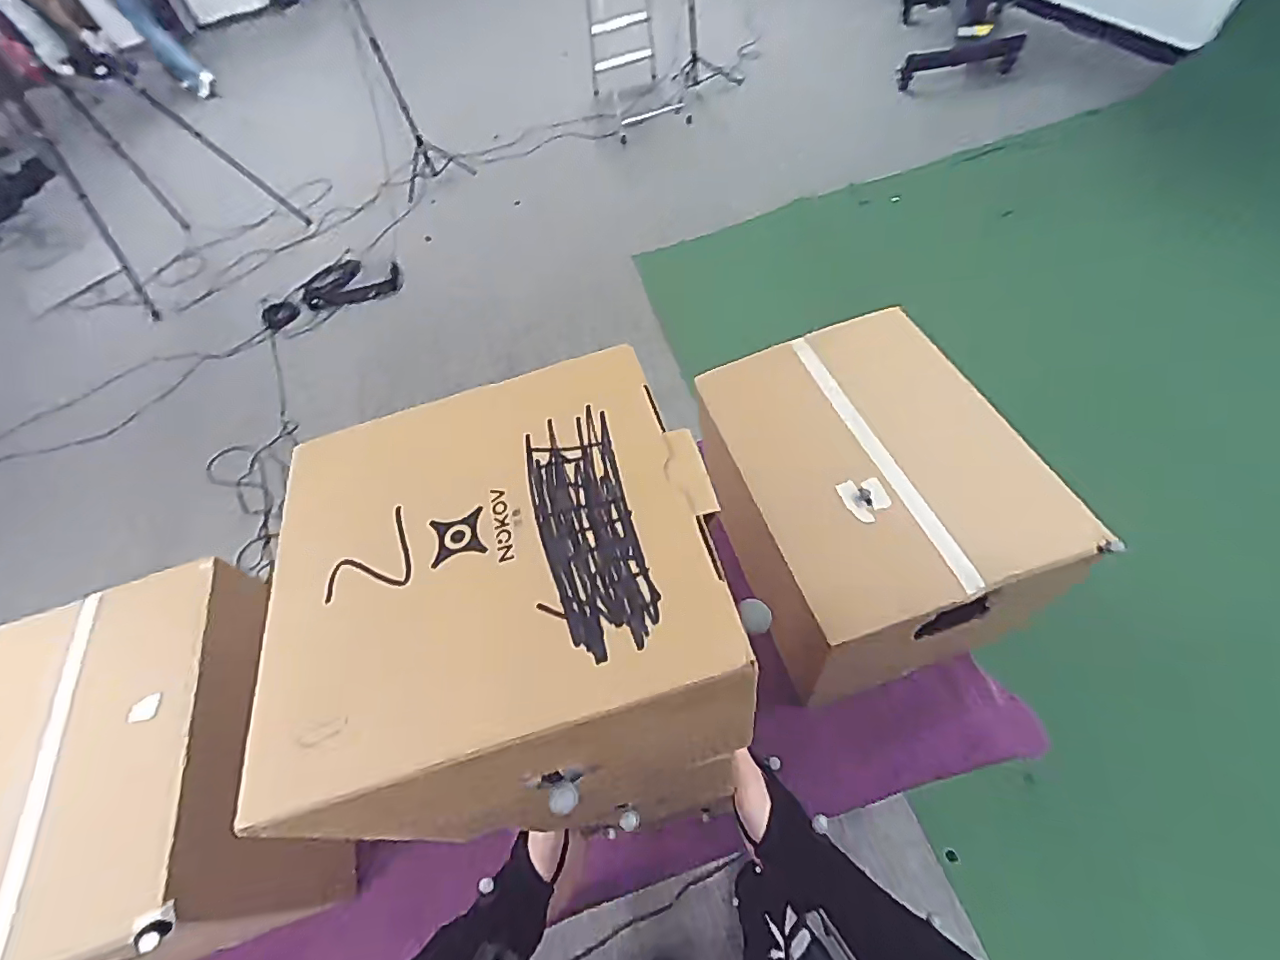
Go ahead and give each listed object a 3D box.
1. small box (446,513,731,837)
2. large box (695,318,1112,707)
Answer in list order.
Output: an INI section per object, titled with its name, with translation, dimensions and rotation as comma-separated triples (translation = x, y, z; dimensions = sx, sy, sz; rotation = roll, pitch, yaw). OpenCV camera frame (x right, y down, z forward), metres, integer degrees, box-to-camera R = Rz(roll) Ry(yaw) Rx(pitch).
[small box]
translation = -0.032, 0.155, 0.417
dimensions = 0.168, 0.176, 0.179
rotation = -14, 54, 1
[large box]
translation = 0.299, 0.049, 0.772
dimensions = 0.320, 0.320, 0.408
rotation = -20, 56, -1
